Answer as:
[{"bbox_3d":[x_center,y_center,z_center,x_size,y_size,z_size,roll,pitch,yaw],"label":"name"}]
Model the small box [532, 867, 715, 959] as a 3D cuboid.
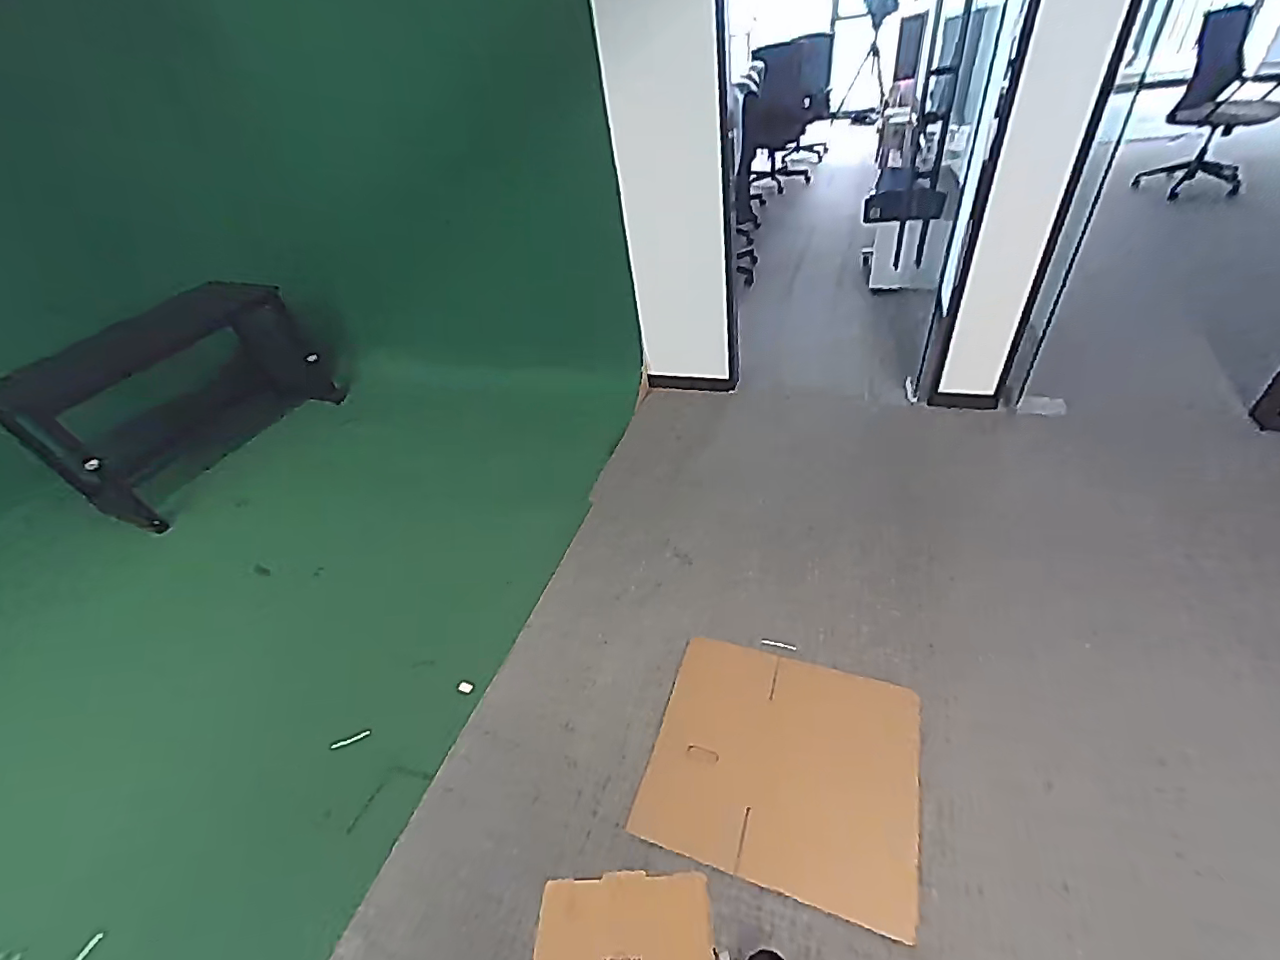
[{"bbox_3d":[-0.009,0.507,0.510,0.168,0.176,0.179,-6,27,5],"label":"small box"}]
